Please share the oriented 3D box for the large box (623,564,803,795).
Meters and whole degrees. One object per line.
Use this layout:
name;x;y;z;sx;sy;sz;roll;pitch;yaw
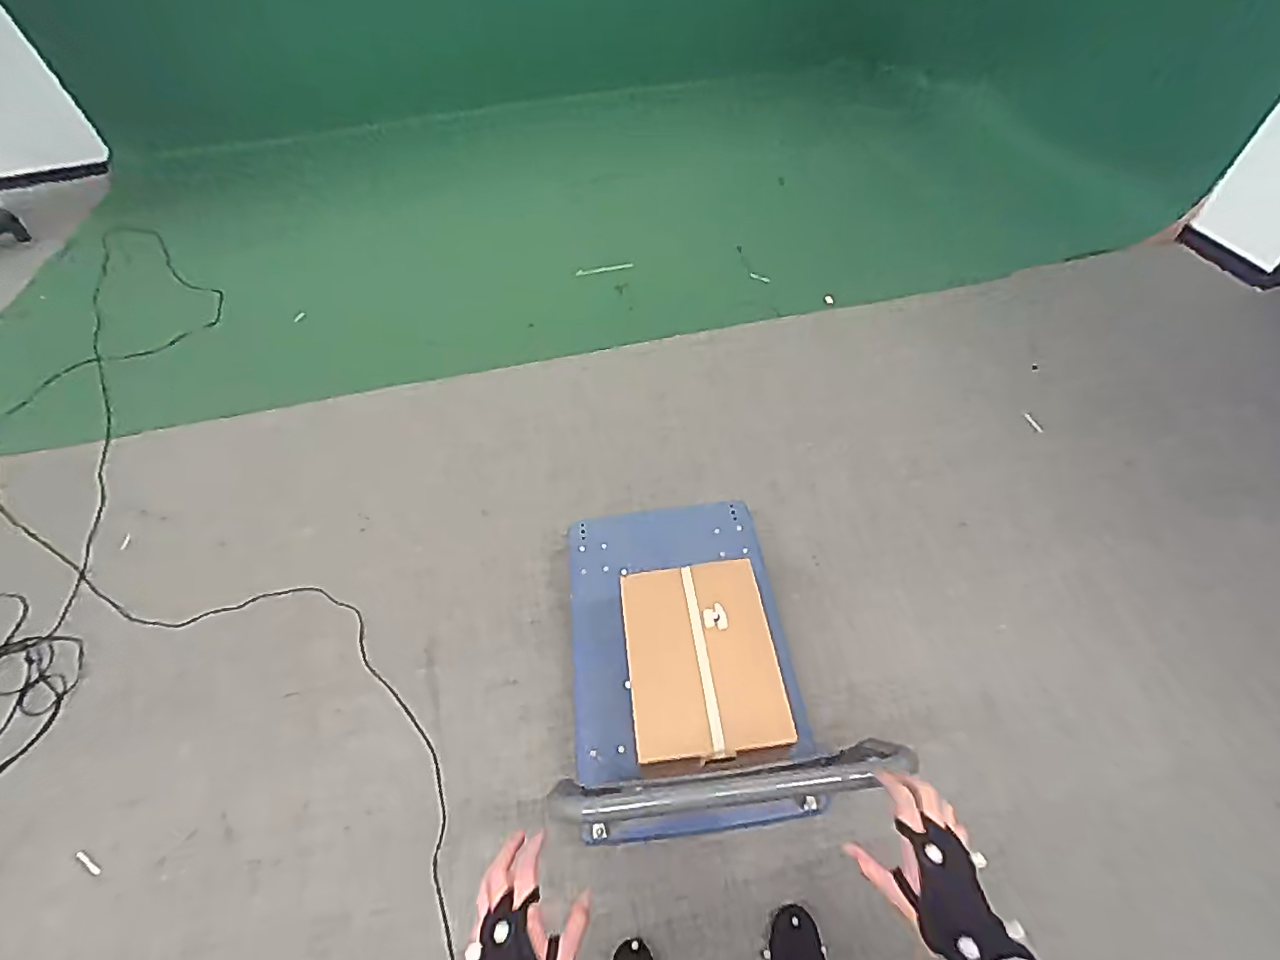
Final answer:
large box;0.146;0.462;1.257;0.320;0.320;0.408;-7;51;-2
